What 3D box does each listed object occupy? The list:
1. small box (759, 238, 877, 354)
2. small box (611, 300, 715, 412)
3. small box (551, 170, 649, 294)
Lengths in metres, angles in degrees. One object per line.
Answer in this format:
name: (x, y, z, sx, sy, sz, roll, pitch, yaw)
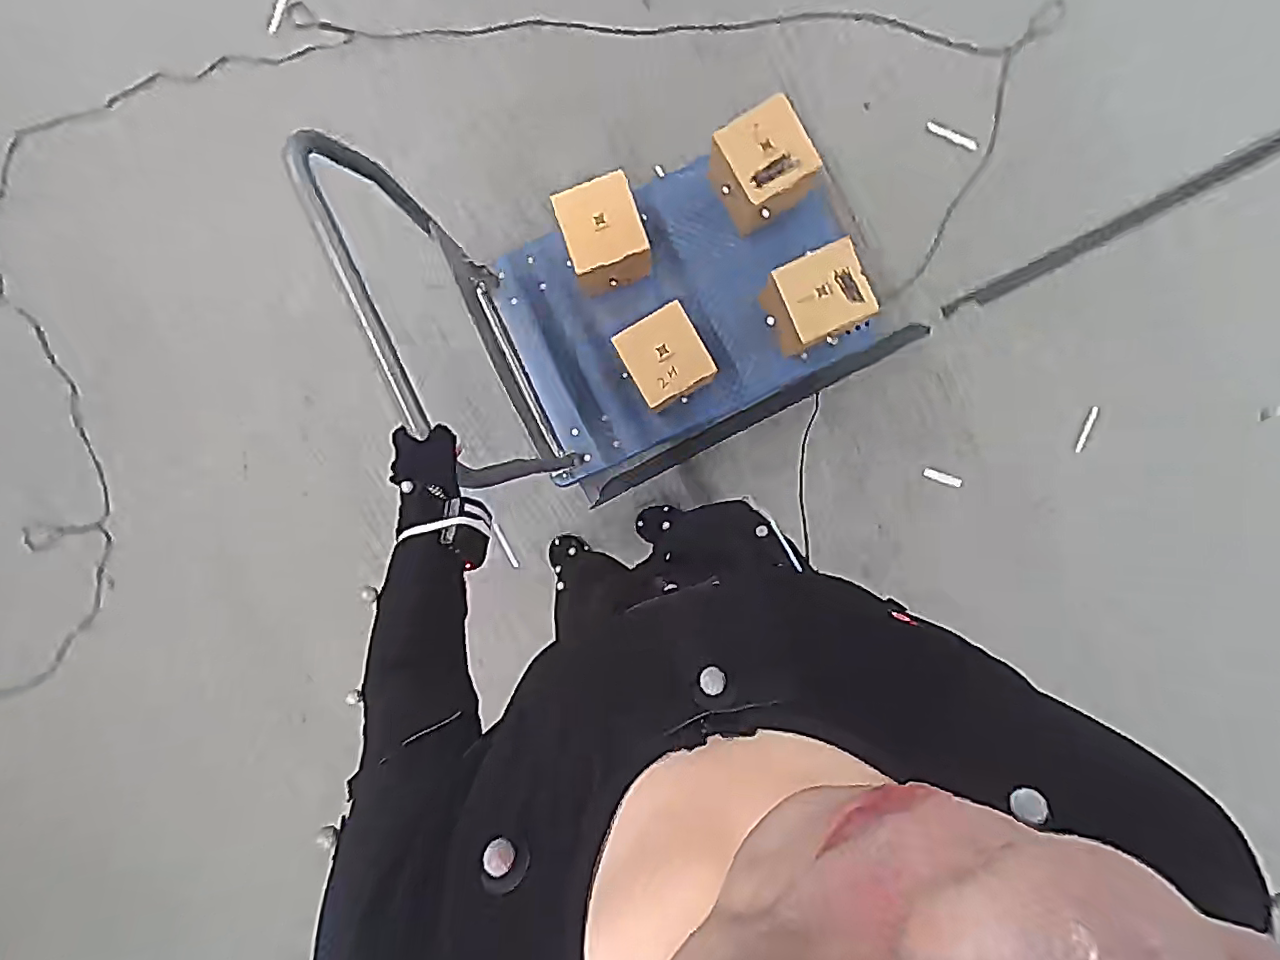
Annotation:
small box: (0.386, -0.400, 1.201, 0.179, 0.176, 0.168, -24, 91, 4)
small box: (0.051, -0.270, 1.222, 0.168, 0.176, 0.179, -30, 91, 4)
small box: (-0.085, -0.547, 1.216, 0.168, 0.176, 0.179, -20, 93, 3)
